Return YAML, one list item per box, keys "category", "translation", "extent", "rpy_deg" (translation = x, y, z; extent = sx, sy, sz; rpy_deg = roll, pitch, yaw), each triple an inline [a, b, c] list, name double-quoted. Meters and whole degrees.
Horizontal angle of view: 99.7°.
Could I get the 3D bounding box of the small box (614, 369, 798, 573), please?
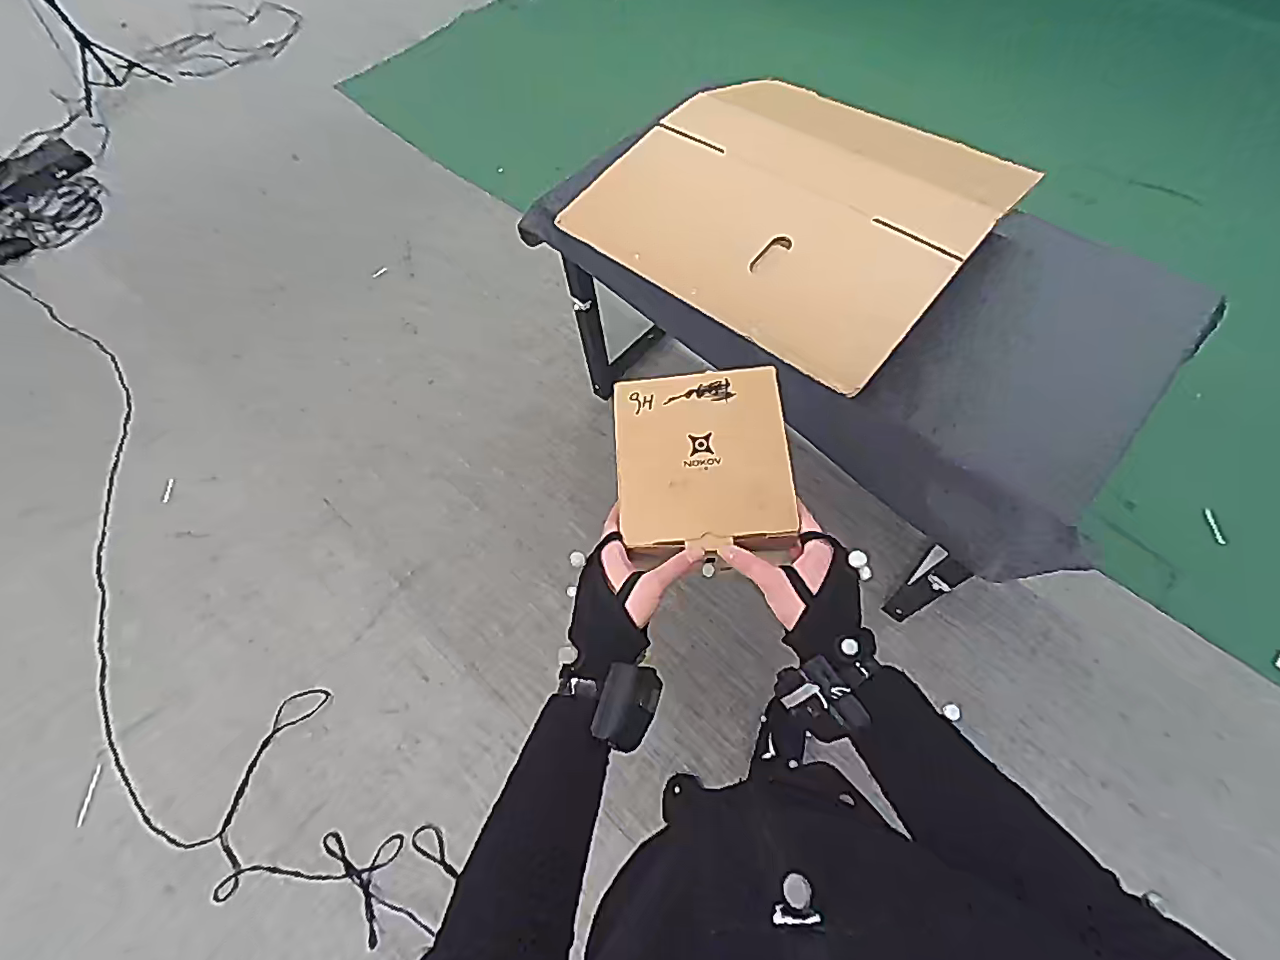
- category: "small box"
  translation: [0.071, 0.003, 0.606]
  extent: [0.168, 0.176, 0.179]
  rpy_deg: [-8, 69, 5]
